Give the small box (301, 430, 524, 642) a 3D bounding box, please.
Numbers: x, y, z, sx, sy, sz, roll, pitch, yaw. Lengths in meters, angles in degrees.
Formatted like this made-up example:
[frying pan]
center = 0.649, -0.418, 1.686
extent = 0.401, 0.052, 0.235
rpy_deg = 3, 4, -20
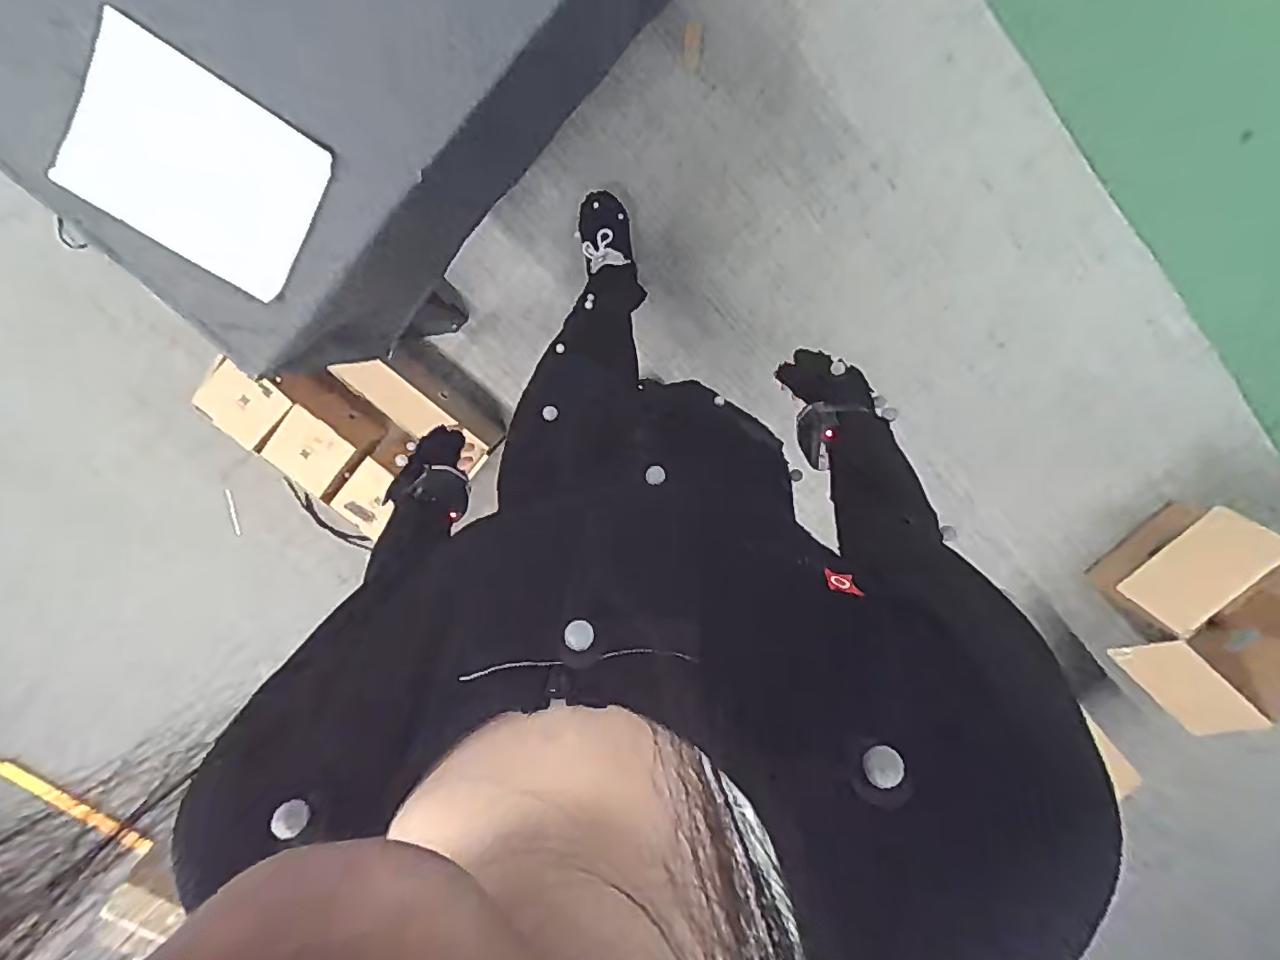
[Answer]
[small box]
center = -0.262, 0.062, 0.650
extent = 0.176, 0.179, 0.168
rpy_deg = -44, 101, -11
